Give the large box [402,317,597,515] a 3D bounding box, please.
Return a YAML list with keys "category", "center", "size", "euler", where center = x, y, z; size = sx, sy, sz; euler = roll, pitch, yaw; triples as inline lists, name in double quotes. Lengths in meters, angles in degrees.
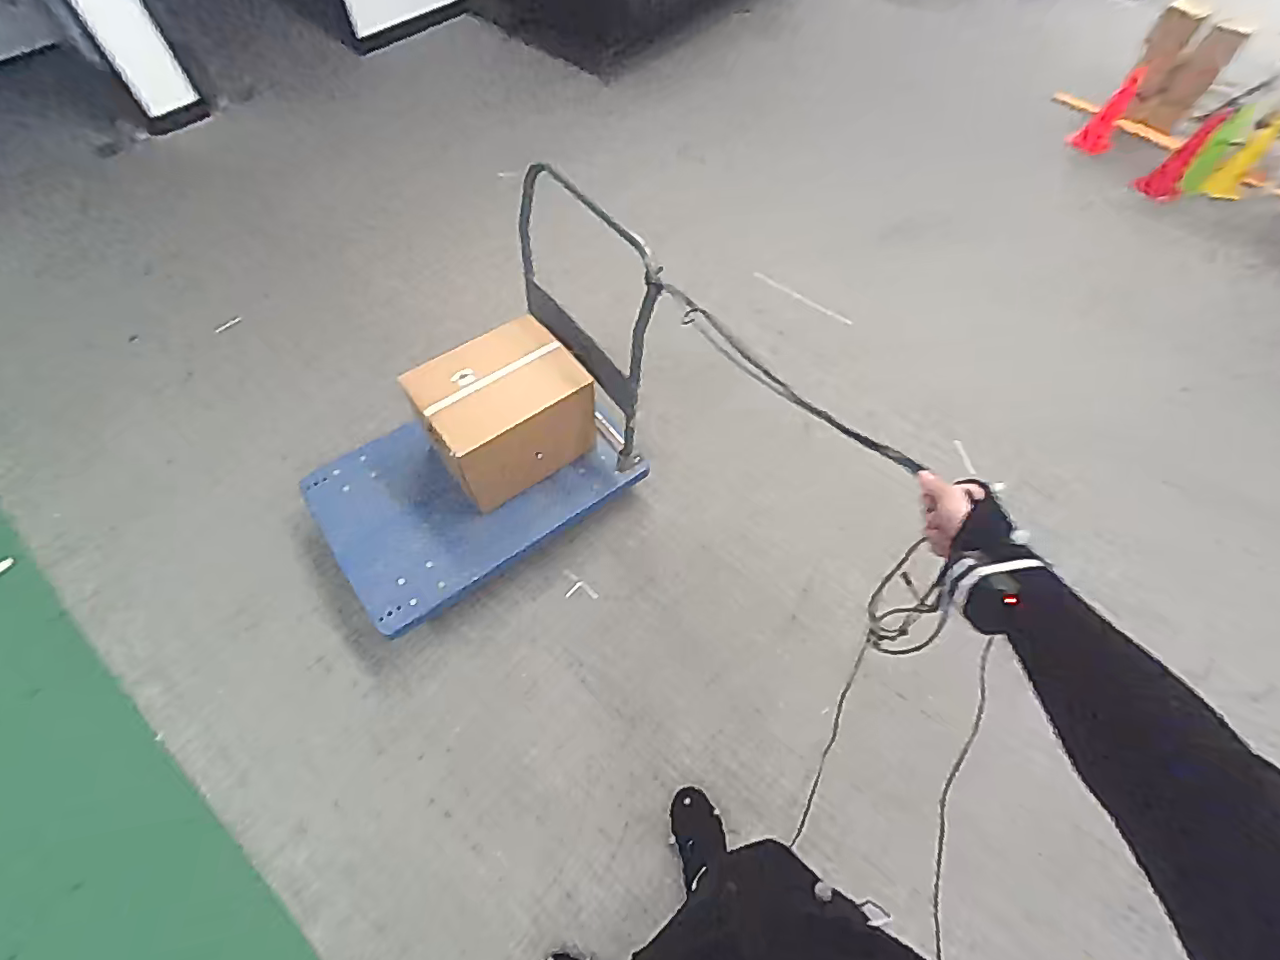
- category: "large box"
  center: [-0.370, -0.177, 1.524]
  size: [0.408, 0.320, 0.320]
  euler: [-34, 66, -20]
